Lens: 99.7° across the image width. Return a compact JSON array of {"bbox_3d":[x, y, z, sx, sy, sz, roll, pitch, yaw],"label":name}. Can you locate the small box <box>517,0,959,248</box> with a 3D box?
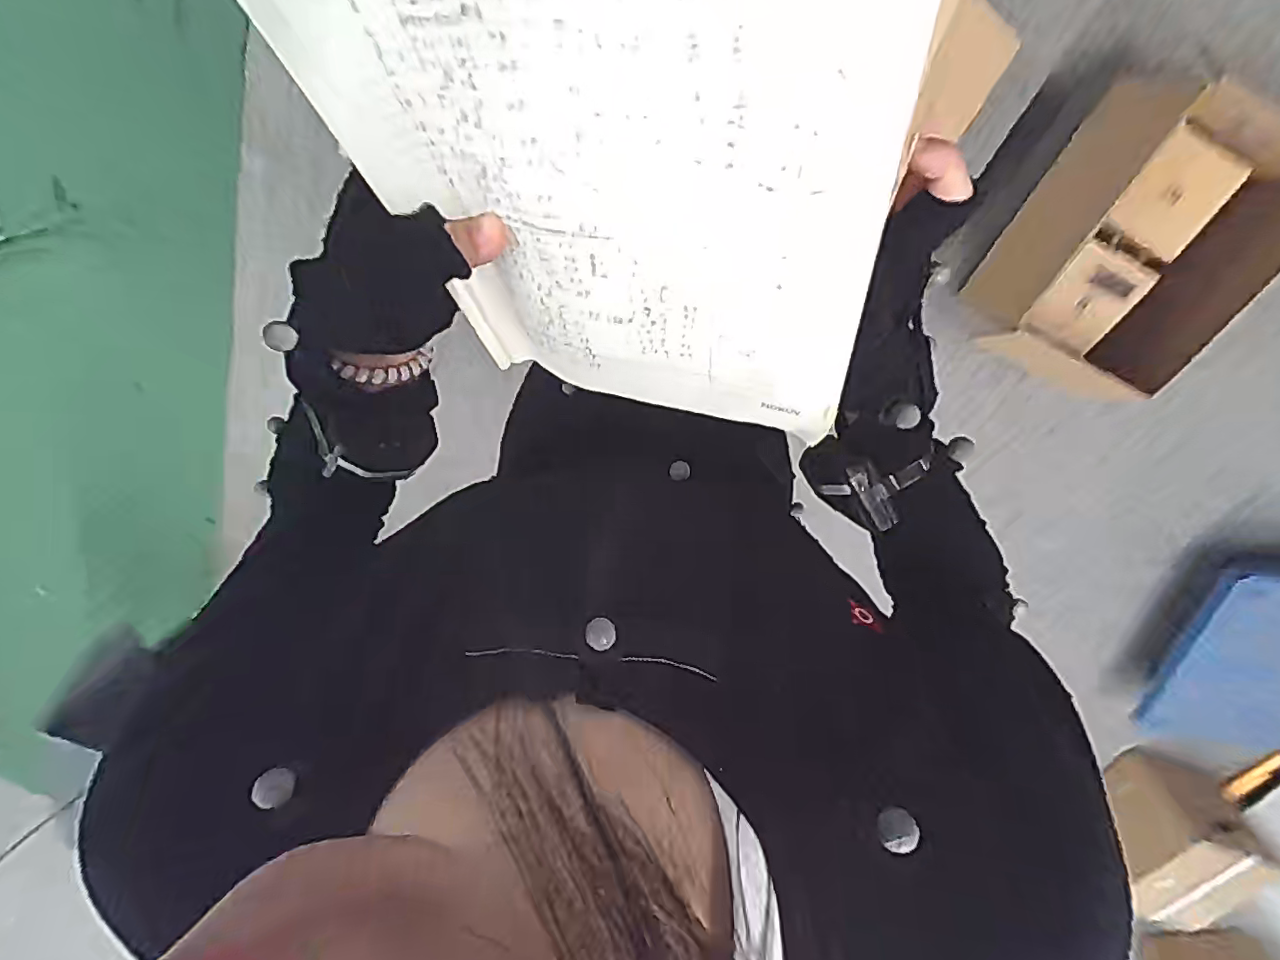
[{"bbox_3d":[0.043,-0.237,0.264,0.168,0.176,0.179,10,126,-1],"label":"small box"}]
